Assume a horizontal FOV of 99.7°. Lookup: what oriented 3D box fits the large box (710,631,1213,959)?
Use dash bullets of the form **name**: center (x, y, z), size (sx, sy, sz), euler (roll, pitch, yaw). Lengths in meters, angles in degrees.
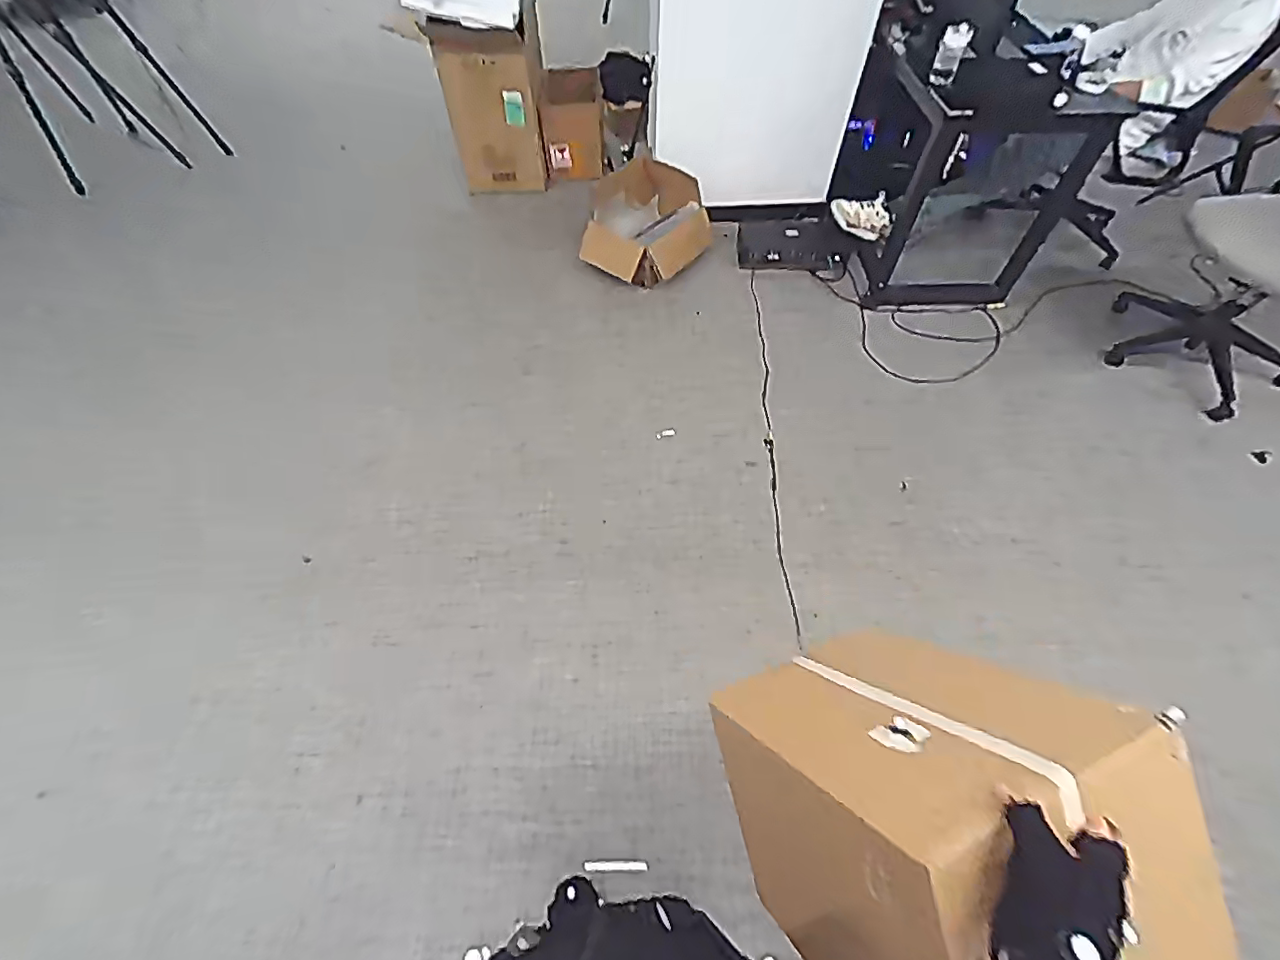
- **large box**: center (0.335, 0.417, 0.660), size (0.320, 0.408, 0.320), euler (-15, 92, -17)
